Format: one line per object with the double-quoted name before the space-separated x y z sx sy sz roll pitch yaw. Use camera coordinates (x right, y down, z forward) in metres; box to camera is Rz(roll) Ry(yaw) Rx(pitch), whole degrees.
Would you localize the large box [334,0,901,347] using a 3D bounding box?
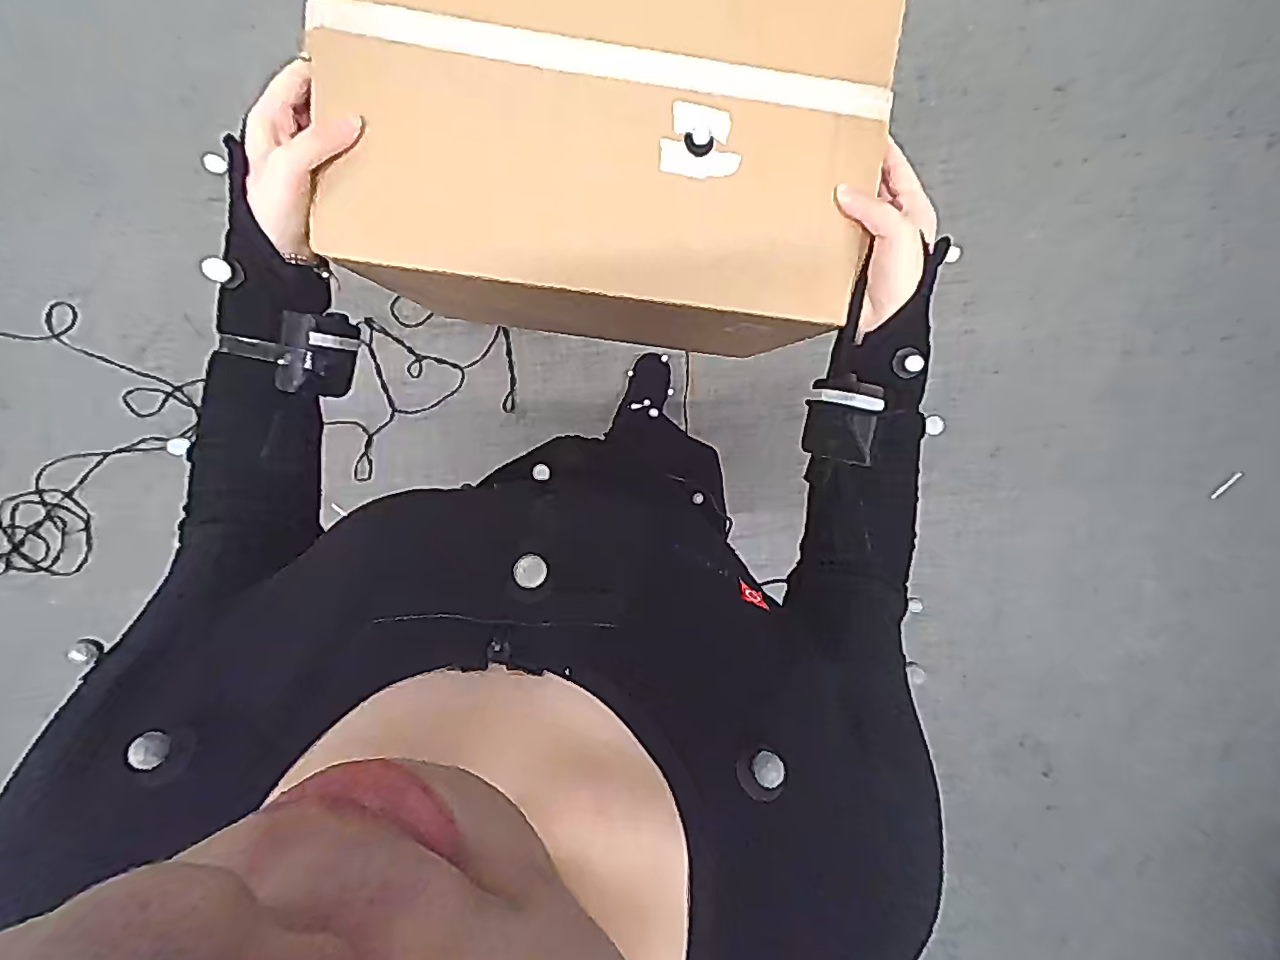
"large box" -0.025 -0.323 0.537 0.408 0.320 0.320 6 99 -6
